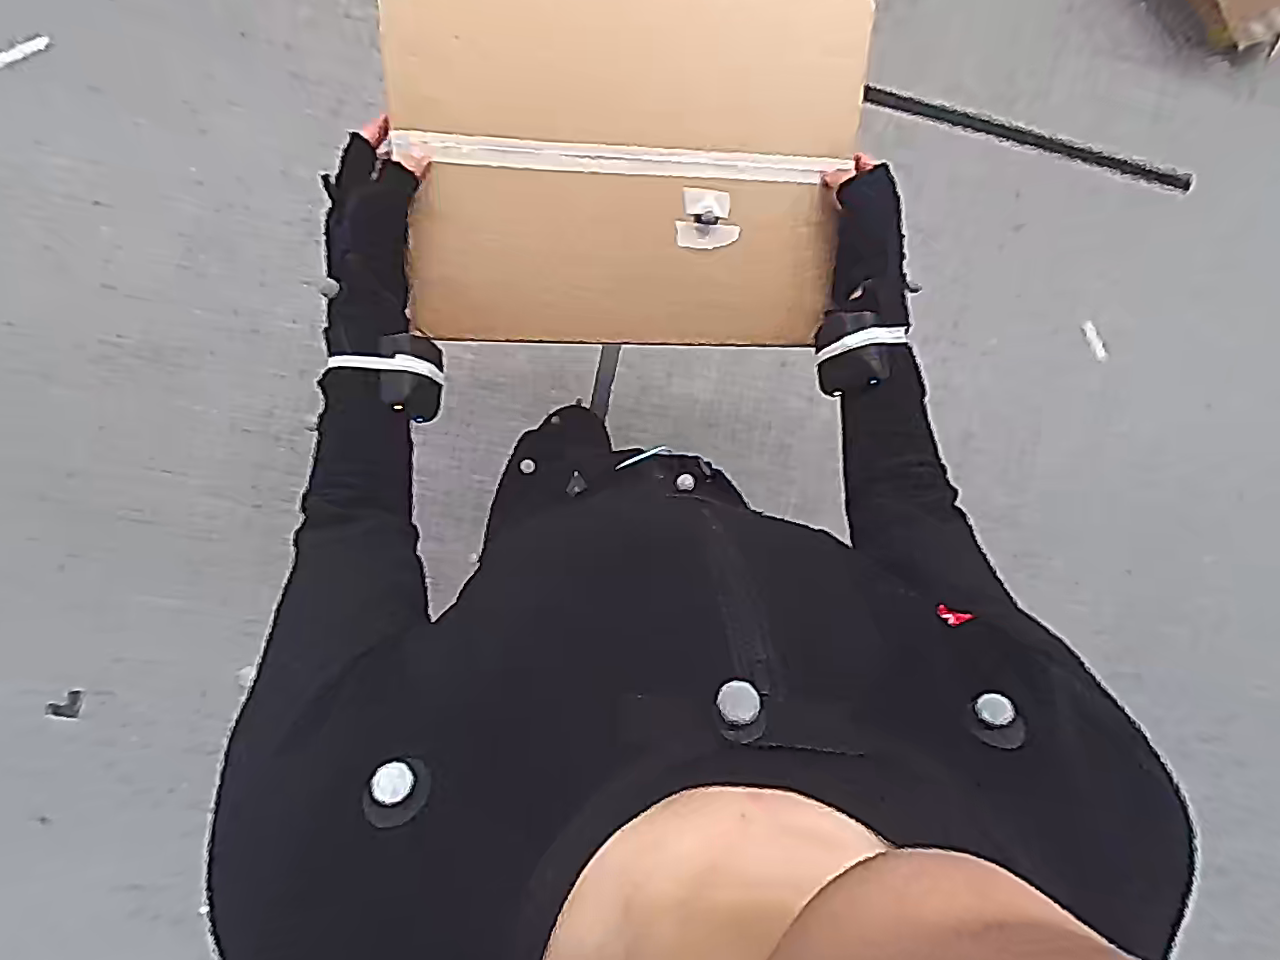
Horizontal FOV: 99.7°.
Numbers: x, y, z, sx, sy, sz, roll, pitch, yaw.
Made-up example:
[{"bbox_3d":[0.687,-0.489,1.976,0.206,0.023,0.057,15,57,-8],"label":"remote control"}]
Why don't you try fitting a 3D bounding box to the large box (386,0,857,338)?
[{"bbox_3d":[-0.031,-0.337,0.629,0.408,0.320,0.320,-1,110,-9],"label":"large box"}]
